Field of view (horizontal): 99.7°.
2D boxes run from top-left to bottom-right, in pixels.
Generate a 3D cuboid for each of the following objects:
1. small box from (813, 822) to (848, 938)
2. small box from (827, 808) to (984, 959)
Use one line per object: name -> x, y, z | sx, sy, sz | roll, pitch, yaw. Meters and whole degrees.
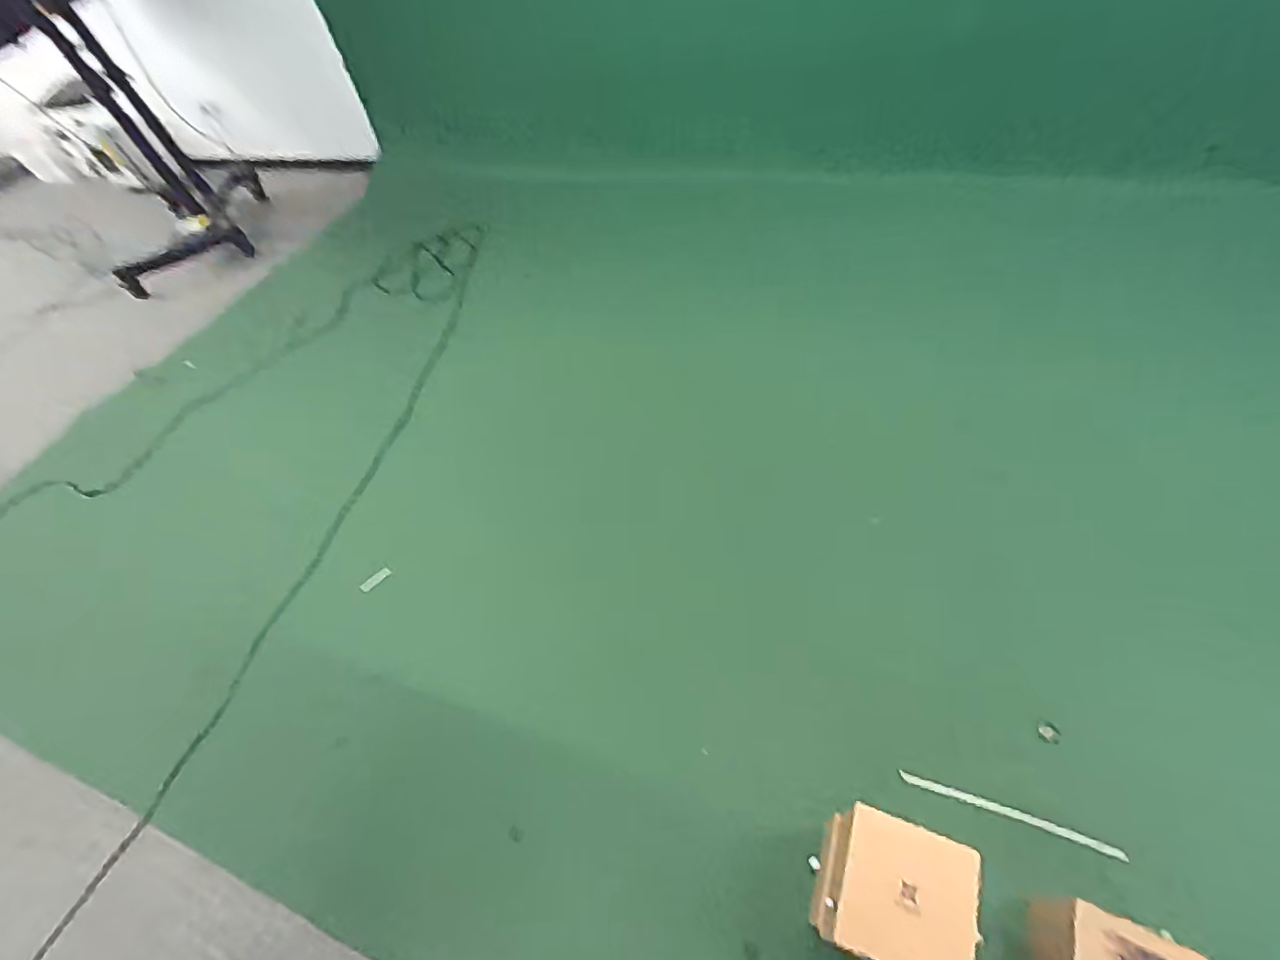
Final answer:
small box -> 0.405, 0.714, 0.920 | 0.179, 0.176, 0.168 | 13, 56, 21
small box -> 0.379, 0.617, 0.791 | 0.168, 0.176, 0.179 | 13, 57, 21
